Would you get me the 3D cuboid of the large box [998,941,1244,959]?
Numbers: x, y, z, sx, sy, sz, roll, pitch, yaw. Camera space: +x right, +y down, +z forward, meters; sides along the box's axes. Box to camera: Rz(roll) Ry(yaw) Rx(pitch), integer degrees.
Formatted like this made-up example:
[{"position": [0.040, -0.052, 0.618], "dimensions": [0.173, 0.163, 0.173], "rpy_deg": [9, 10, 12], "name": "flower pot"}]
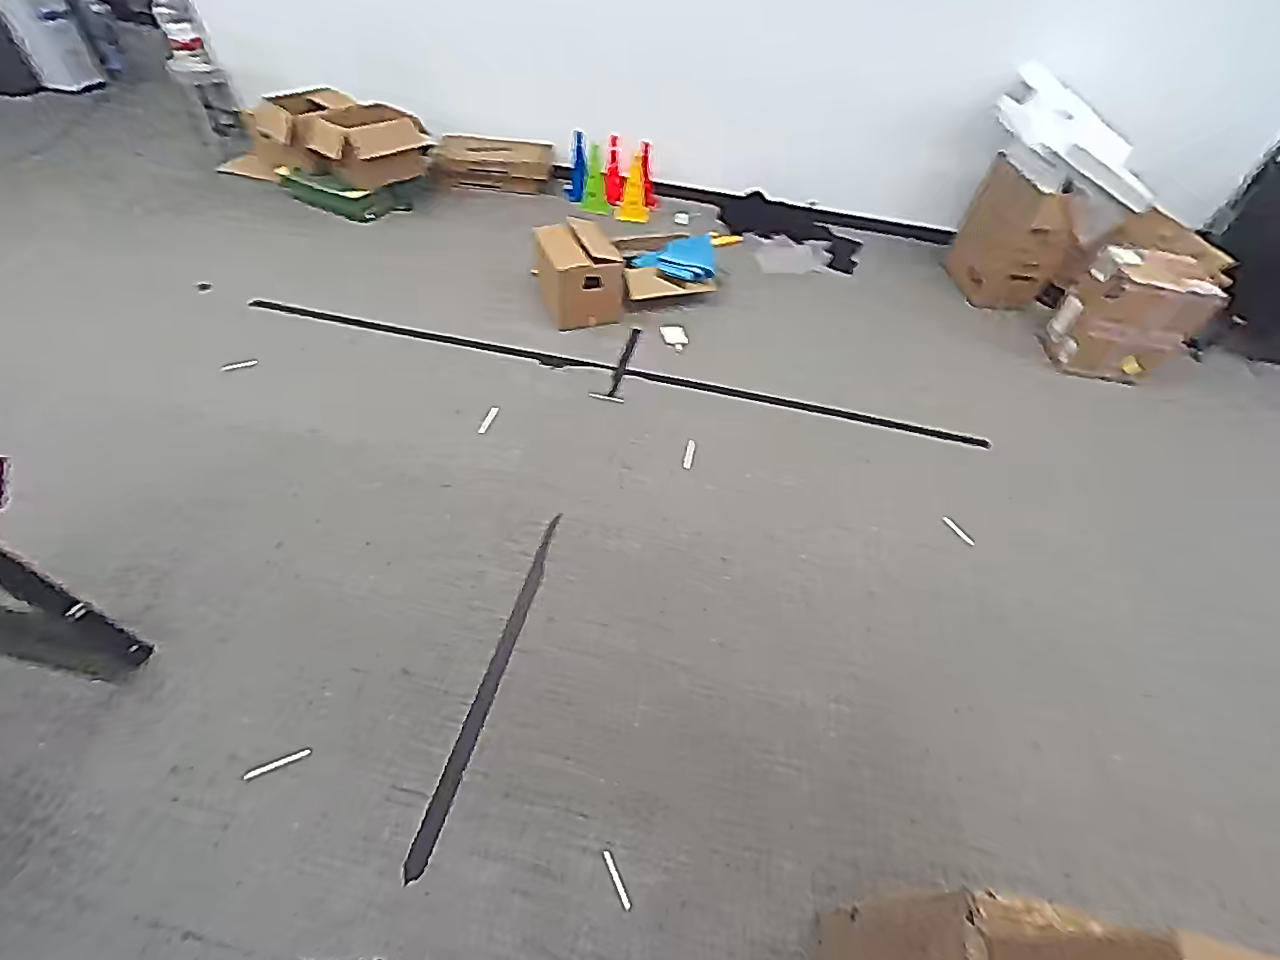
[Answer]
[{"position": [0.571, 0.679, 0.449], "dimensions": [0.320, 0.320, 0.408], "rpy_deg": [12, 50, 7], "name": "large box"}]
